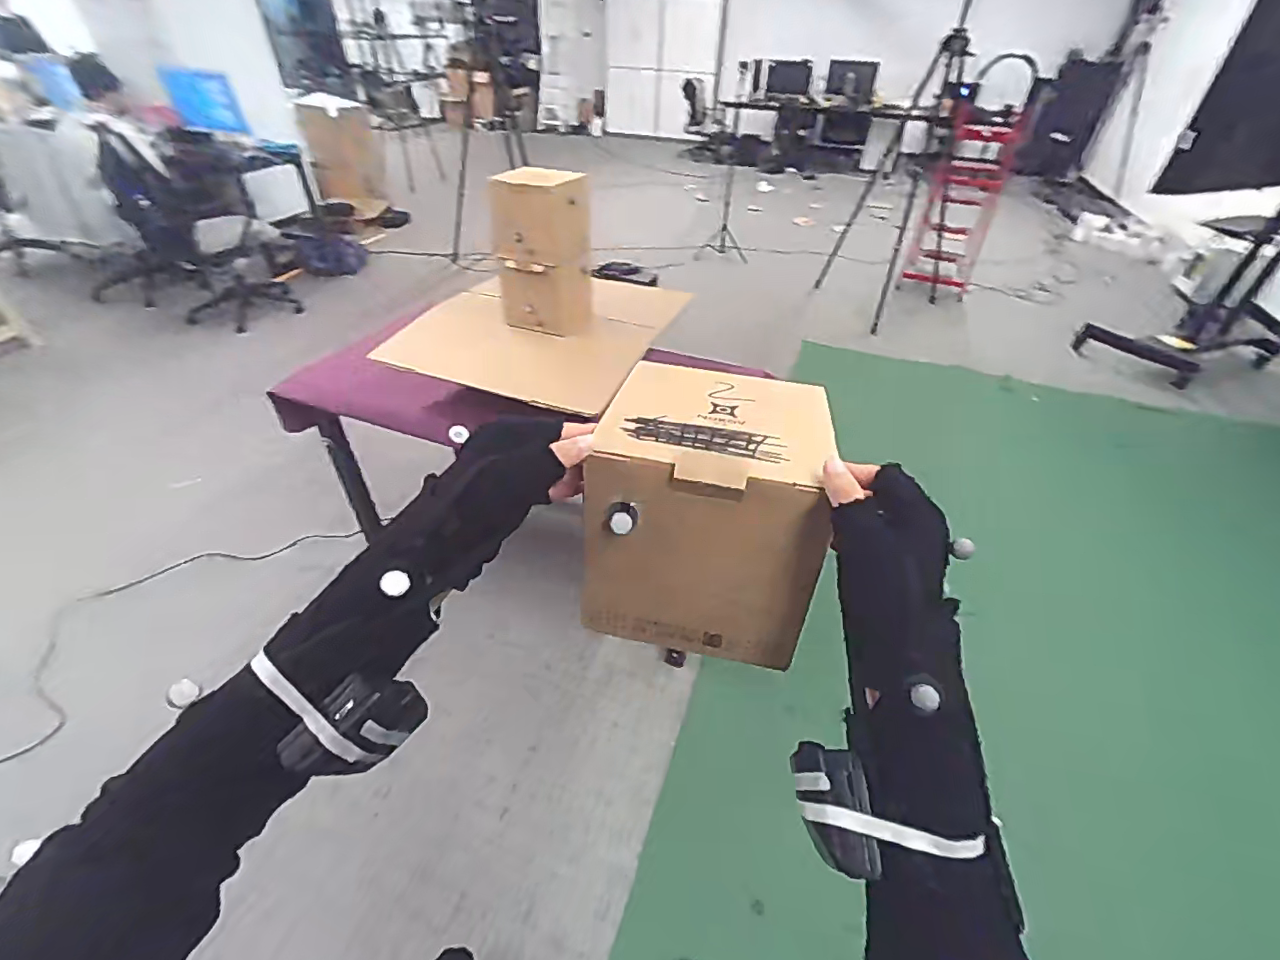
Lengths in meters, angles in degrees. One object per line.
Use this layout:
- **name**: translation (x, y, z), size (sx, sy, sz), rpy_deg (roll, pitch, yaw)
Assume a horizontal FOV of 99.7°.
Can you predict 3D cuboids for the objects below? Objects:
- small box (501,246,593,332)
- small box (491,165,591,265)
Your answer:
- **small box**: translation (-0.229, -0.496, 1.370), size (0.168, 0.176, 0.179), rpy_deg (16, 41, 16)
- **small box**: translation (-0.225, -0.623, 1.267), size (0.168, 0.176, 0.179), rpy_deg (16, 41, 16)
